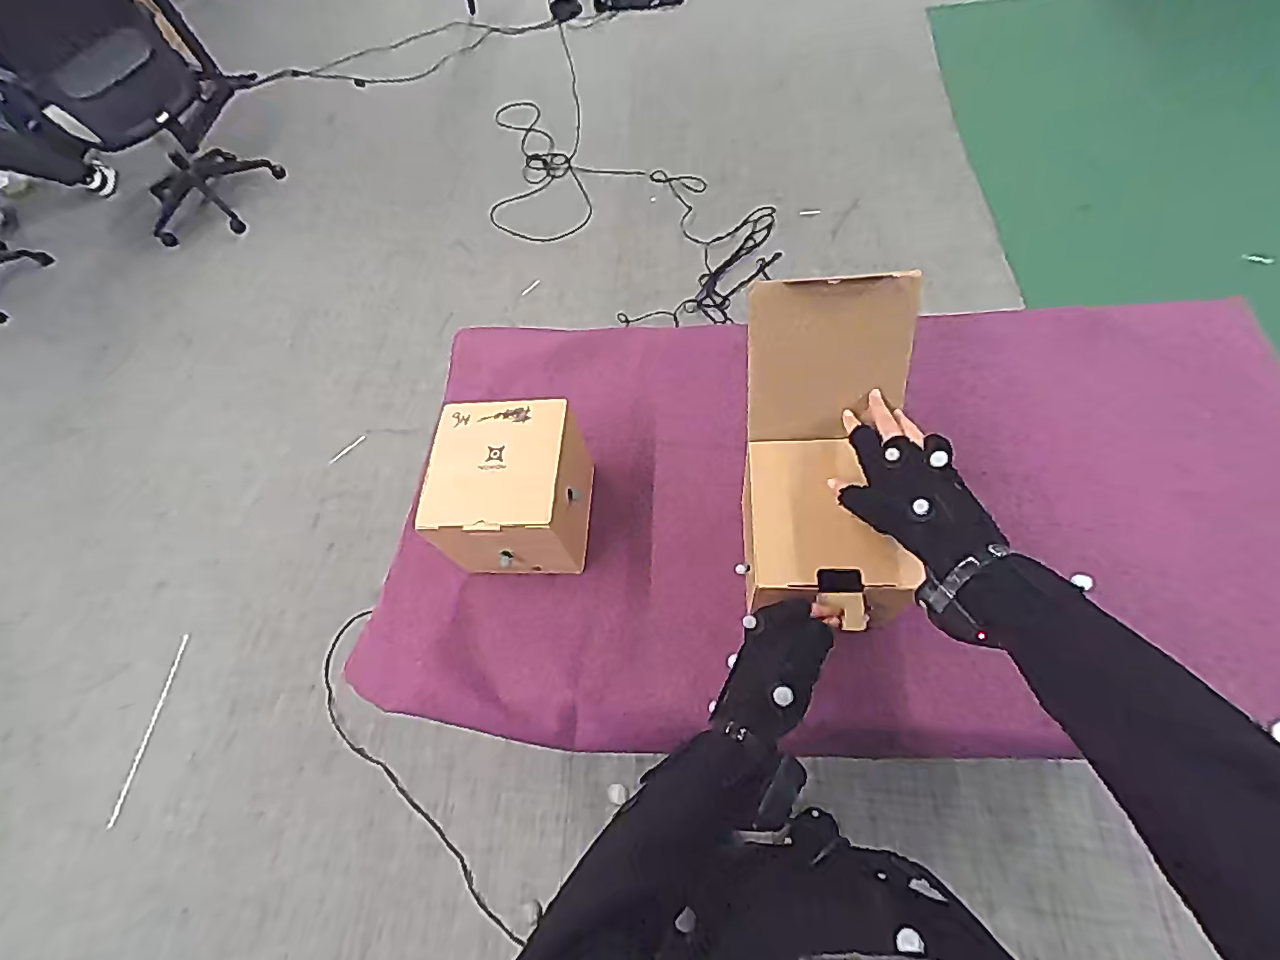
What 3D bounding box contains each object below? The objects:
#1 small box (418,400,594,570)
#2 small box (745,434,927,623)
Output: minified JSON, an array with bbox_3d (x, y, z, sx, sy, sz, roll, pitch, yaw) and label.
[{"bbox_3d":[-0.161,0.015,0.719,0.168,0.176,0.179,-1,63,8],"label":"small box"},{"bbox_3d":[0.211,0.065,0.634,0.168,0.176,0.179,-1,62,8],"label":"small box"}]
